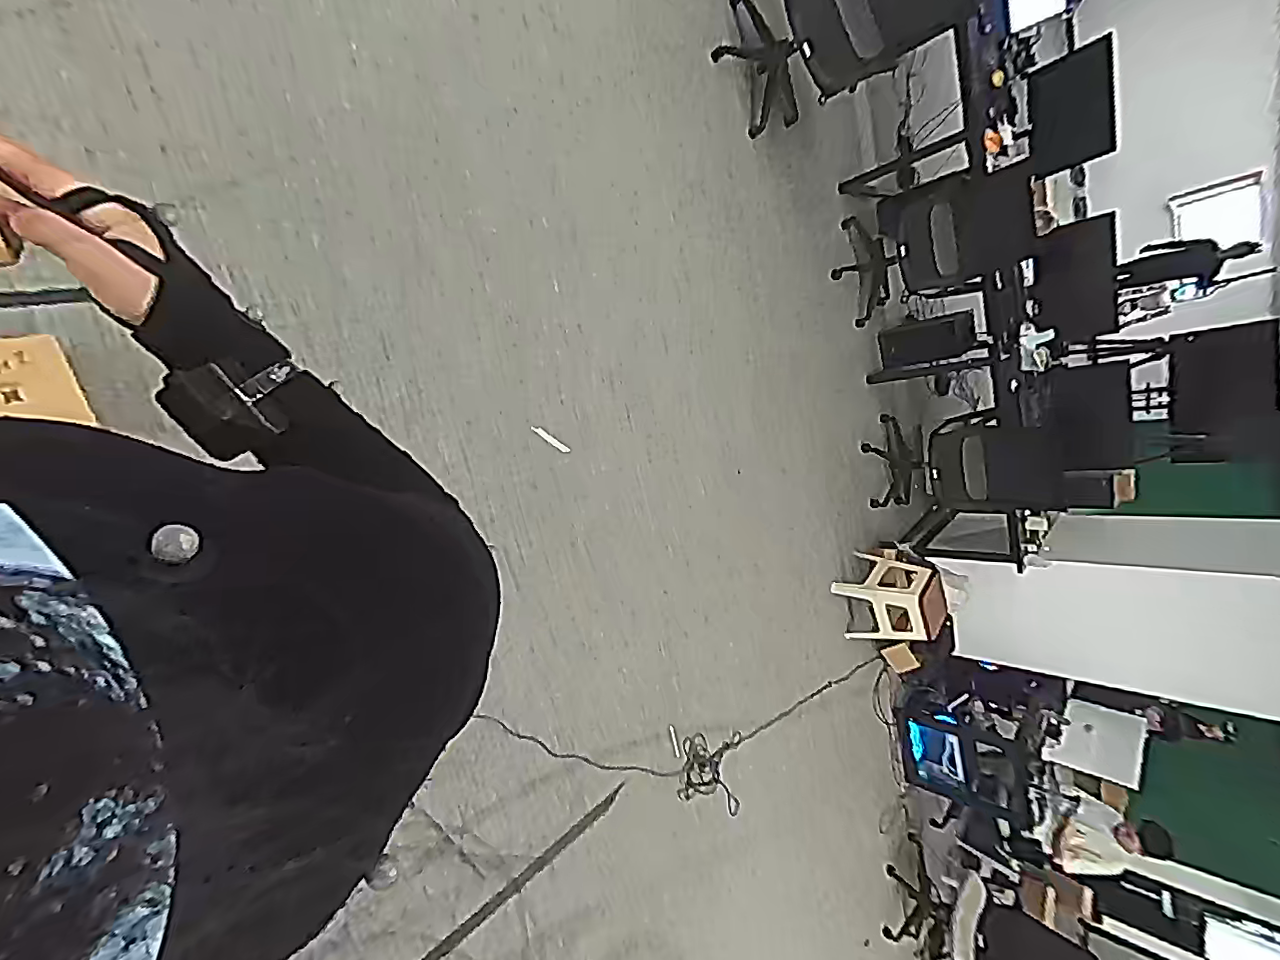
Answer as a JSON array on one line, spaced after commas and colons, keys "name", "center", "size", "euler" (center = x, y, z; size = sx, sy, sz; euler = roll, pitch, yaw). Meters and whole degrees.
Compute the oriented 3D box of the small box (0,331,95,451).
[{"name": "small box", "center": [-1.110, -0.150, 0.955], "size": [0.168, 0.176, 0.179], "euler": [-25, 105, -41]}]
